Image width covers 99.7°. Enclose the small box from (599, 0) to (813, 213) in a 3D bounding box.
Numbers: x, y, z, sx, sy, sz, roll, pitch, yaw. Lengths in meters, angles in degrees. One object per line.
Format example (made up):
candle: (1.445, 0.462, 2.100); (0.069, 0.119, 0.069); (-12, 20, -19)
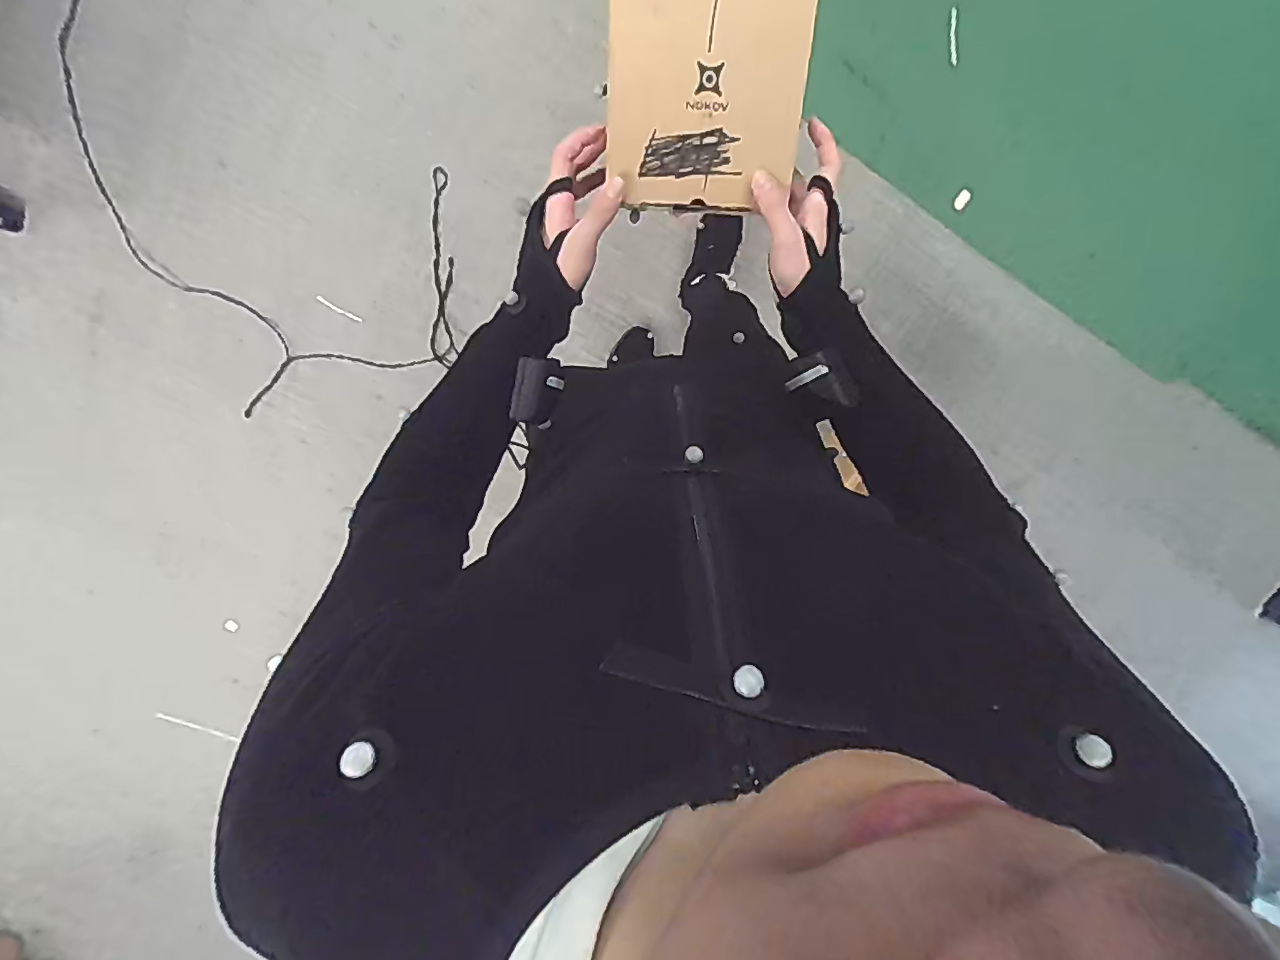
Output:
small box: (0.046, -0.355, 0.514); (0.168, 0.176, 0.179); (1, 115, -5)
